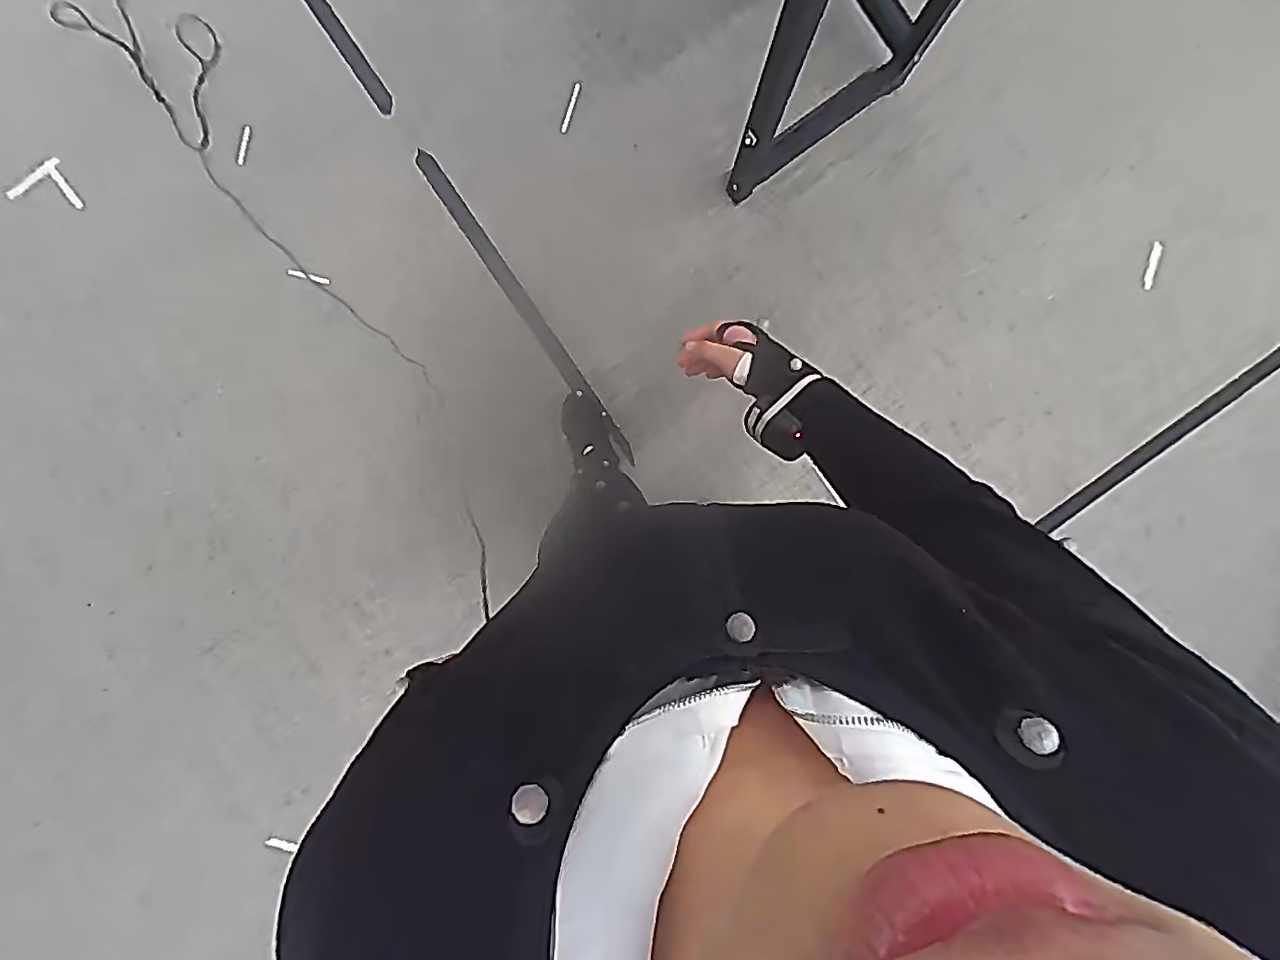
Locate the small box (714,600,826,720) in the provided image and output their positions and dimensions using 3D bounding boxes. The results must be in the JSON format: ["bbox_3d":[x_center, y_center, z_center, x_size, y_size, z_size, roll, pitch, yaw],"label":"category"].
[{"bbox_3d":[0.294,0.406,1.254,0.168,0.176,0.179,-37,91,1],"label":"small box"}]
